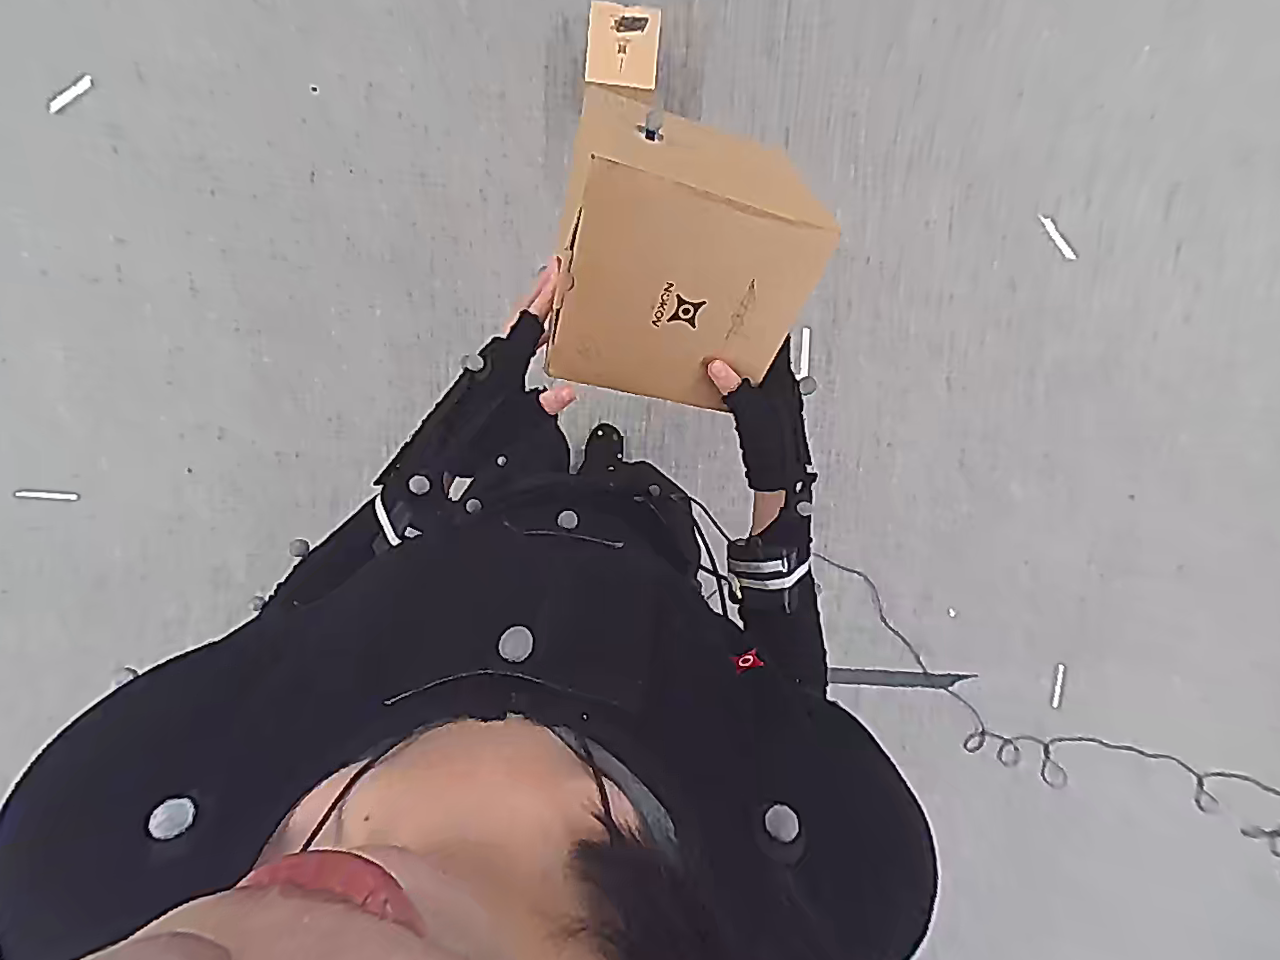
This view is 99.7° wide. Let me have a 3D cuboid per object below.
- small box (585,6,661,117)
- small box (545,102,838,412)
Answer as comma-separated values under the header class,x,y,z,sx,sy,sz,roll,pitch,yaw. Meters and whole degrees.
class,x,y,z,sx,sy,sz,roll,pitch,yaw
small box,-0.045,-1.007,1.336,0.168,0.176,0.179,5,97,-4
small box,0.024,-0.185,0.451,0.179,0.176,0.168,8,136,-15
